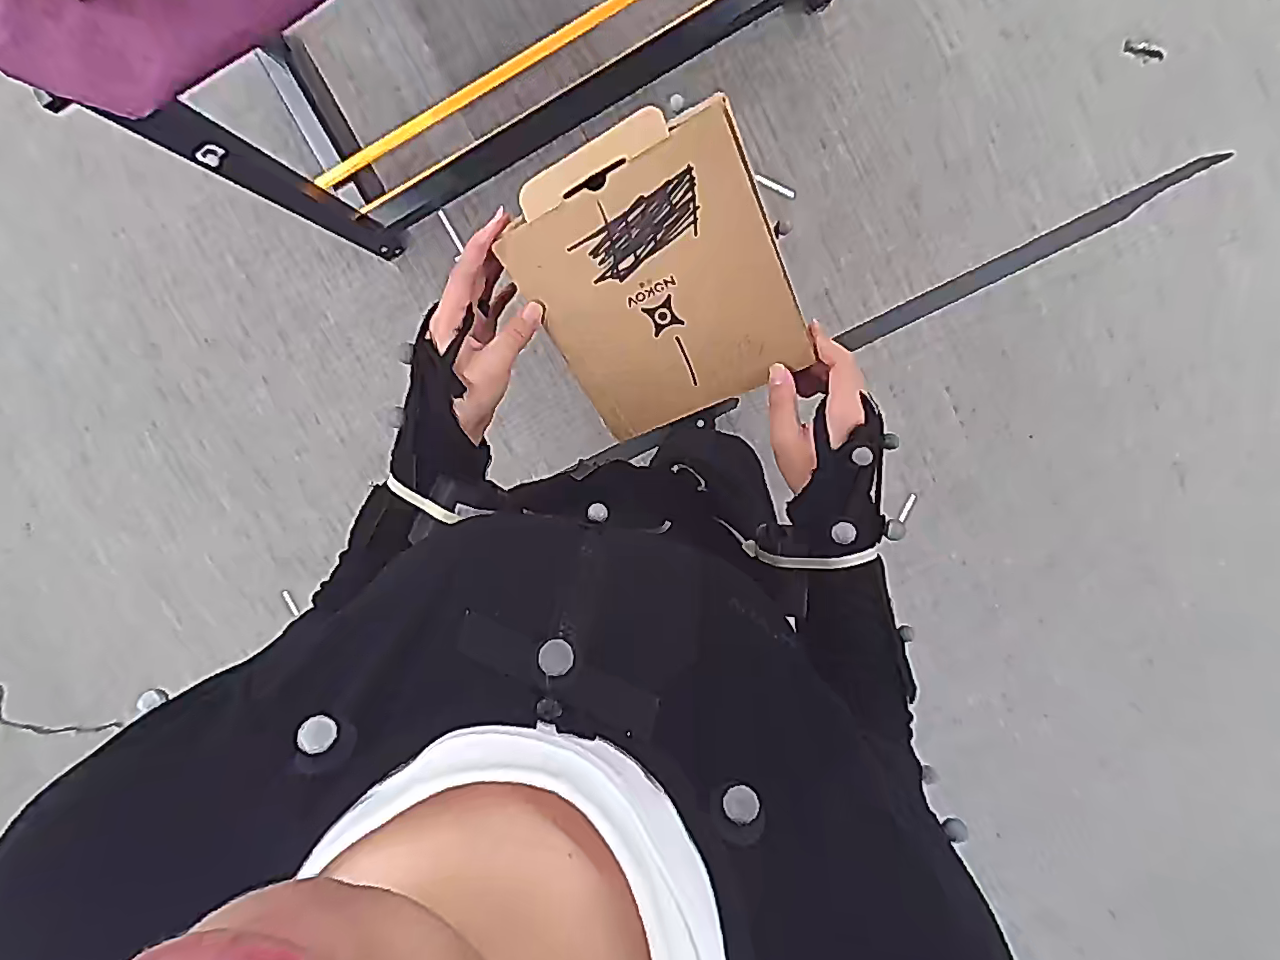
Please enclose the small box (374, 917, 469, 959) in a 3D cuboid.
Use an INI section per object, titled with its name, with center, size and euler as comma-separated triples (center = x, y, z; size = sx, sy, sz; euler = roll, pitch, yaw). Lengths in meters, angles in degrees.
[small box]
center = -0.547, 1.206, 1.299
size = 0.168, 0.176, 0.179
euler = -34, 95, 7
